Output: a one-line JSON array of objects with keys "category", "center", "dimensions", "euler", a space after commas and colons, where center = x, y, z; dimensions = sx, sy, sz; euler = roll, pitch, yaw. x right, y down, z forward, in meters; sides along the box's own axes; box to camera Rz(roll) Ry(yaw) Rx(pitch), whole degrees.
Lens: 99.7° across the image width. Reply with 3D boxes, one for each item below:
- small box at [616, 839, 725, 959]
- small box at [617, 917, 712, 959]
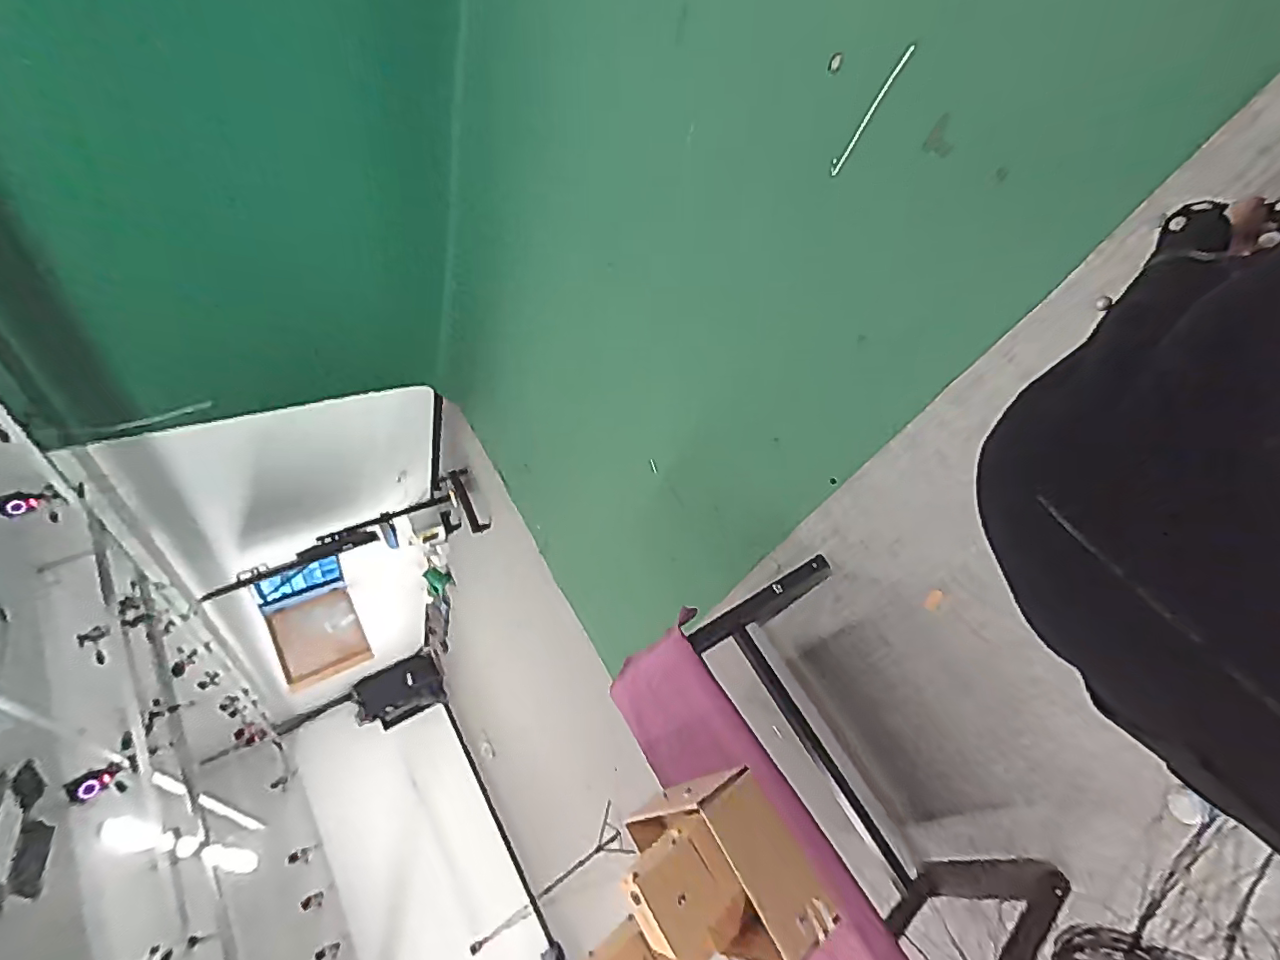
[{"category": "small box", "center": [0.074, 1.023, 1.335], "dimensions": [0.179, 0.176, 0.168], "euler": [56, 145, 17]}, {"category": "small box", "center": [0.071, 1.252, 1.468], "dimensions": [0.168, 0.176, 0.179], "euler": [58, 143, 18]}]
